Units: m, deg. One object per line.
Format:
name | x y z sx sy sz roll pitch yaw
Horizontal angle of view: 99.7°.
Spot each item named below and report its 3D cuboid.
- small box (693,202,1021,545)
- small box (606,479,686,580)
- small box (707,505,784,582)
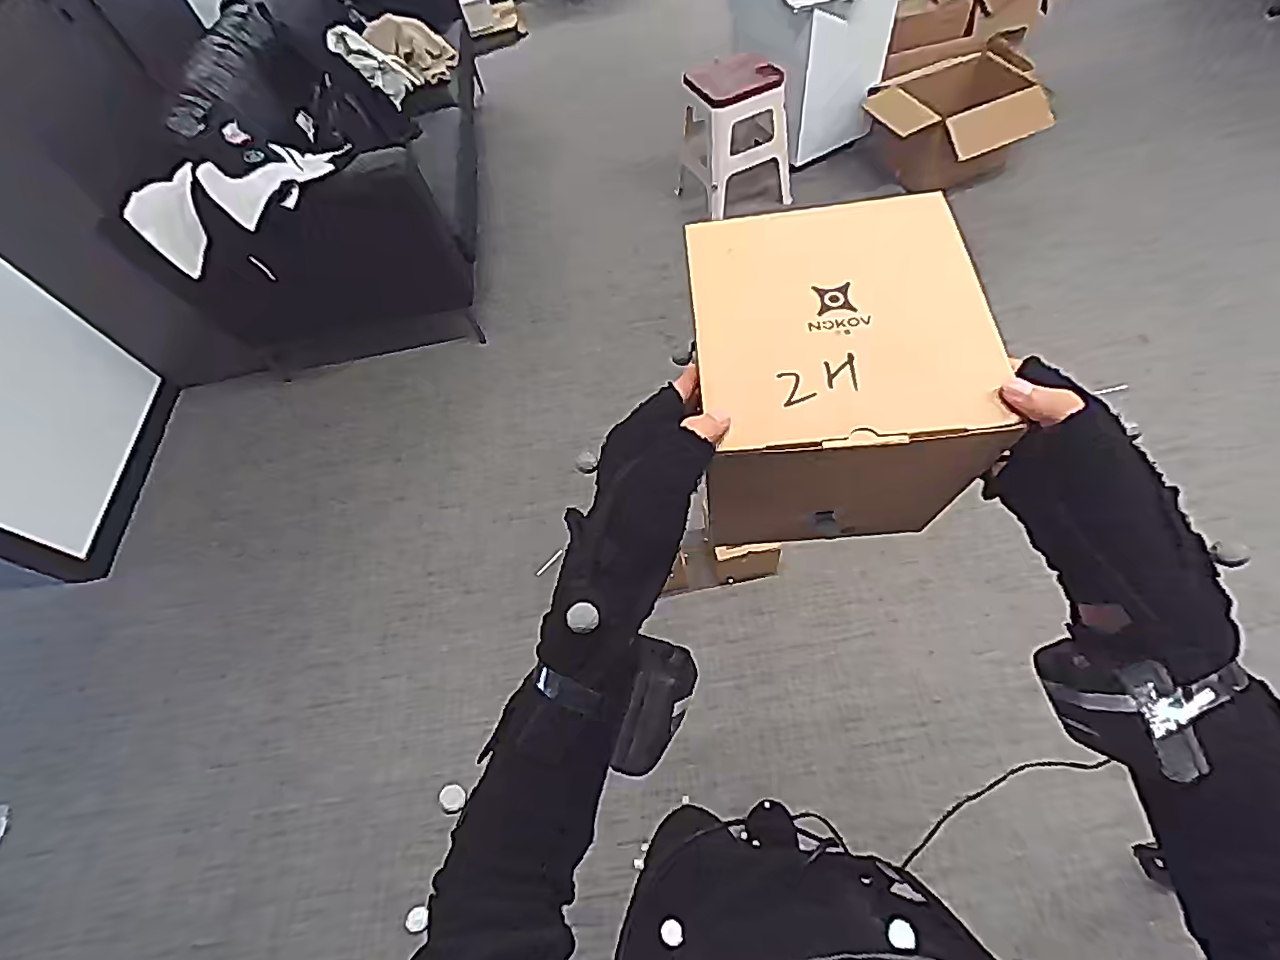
small box | 0.127 -0.065 0.397 0.168 0.176 0.179 -5 65 7
small box | 0.016 0.125 1.336 0.168 0.176 0.179 -11 57 3
small box | 0.281 0.164 1.460 0.168 0.176 0.179 -12 57 2
